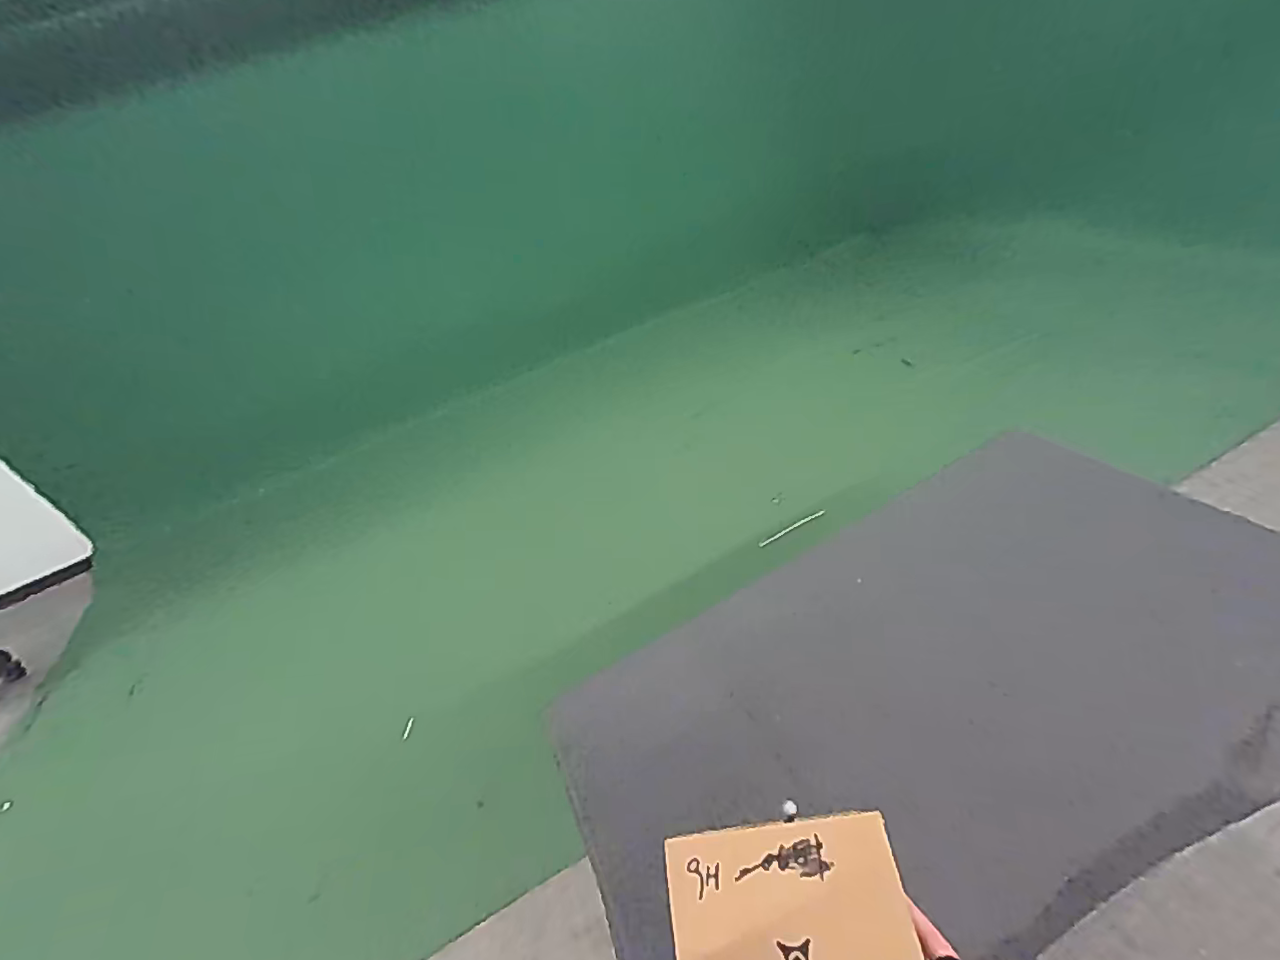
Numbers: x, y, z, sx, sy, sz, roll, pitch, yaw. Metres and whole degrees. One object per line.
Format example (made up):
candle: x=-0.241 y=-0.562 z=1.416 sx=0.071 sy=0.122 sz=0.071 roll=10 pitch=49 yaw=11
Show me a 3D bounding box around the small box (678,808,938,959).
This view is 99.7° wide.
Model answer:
small box: x=0.134 y=0.367 z=0.425 sx=0.168 sy=0.176 sz=0.179 roll=-12 pitch=57 yaw=8
